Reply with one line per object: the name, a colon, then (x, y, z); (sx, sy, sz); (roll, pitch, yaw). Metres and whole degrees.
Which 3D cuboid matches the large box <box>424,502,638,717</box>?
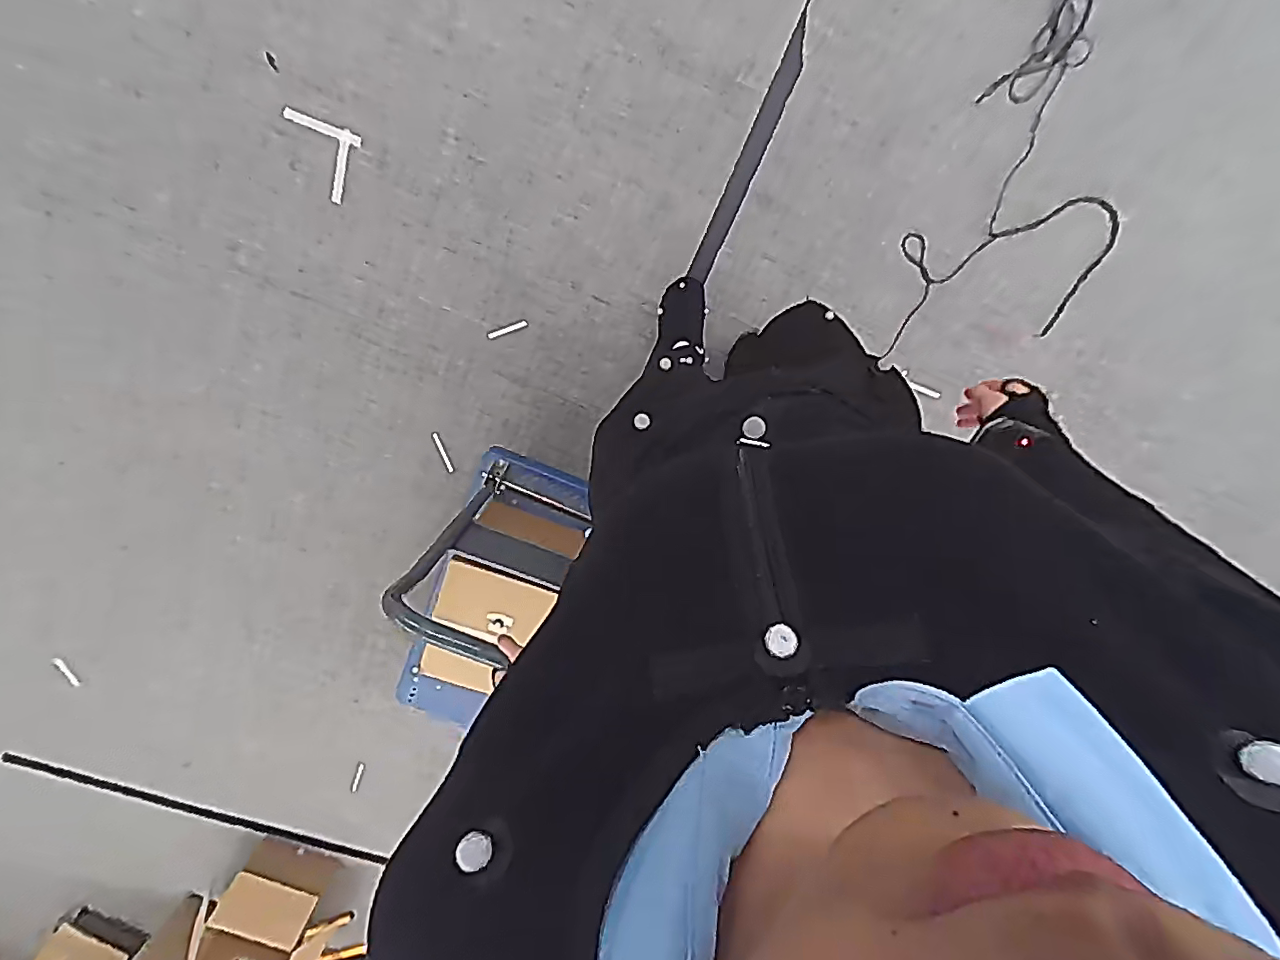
large box: (-0.242, 0.300, 1.313); (0.408, 0.320, 0.320); (20, 109, -6)
